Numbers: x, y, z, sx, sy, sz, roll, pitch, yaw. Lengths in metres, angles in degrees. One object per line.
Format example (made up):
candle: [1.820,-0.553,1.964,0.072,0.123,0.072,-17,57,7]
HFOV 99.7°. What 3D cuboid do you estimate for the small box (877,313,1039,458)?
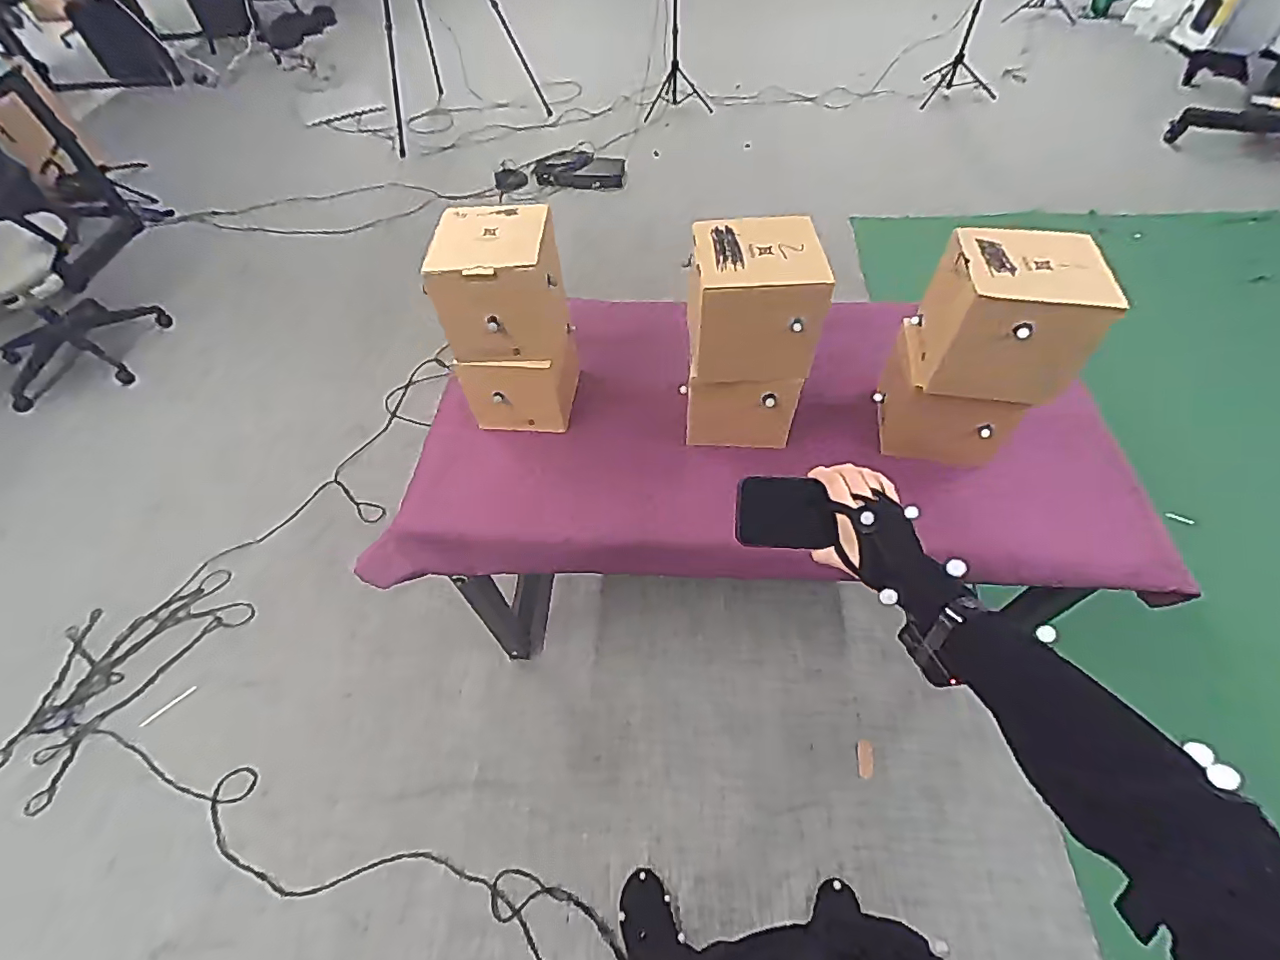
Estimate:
small box: [0.513,-0.153,0.900,0.179,0.176,0.168,7,54,10]

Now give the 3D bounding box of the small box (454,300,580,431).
small box: [-0.211,-0.206,0.988,0.168,0.176,0.179,2,54,6]

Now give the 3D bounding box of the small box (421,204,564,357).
small box: [-0.220,-0.310,0.860,0.168,0.176,0.179,-1,54,2]

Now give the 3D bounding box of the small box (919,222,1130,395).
small box: [0.512,-0.237,0.758,0.179,0.176,0.168,7,54,8]

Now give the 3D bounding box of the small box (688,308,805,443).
small box: [0.176,-0.177,0.938,0.179,0.176,0.168,2,54,6]
